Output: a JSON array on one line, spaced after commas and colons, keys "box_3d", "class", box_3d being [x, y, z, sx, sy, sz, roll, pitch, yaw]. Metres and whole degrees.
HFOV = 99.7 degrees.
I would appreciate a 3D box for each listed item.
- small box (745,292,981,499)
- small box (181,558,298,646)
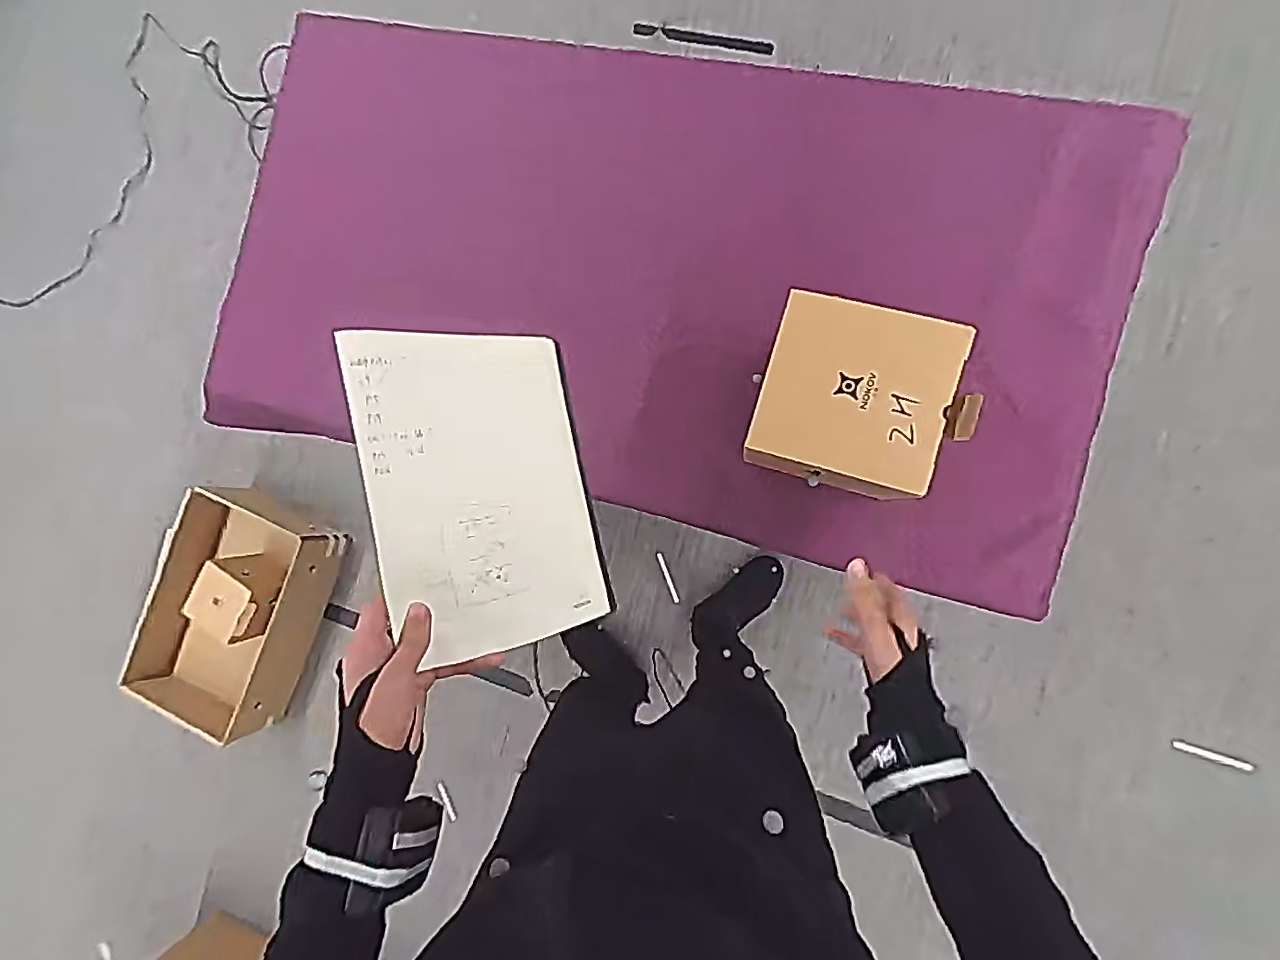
[{"box_3d": [0.222, -0.078, 0.589, 0.179, 0.176, 0.168, 17, 91, 11], "class": "small box"}, {"box_3d": [-1.110, 0.331, 1.513, 0.179, 0.176, 0.168, 30, 93, 10], "class": "small box"}]
